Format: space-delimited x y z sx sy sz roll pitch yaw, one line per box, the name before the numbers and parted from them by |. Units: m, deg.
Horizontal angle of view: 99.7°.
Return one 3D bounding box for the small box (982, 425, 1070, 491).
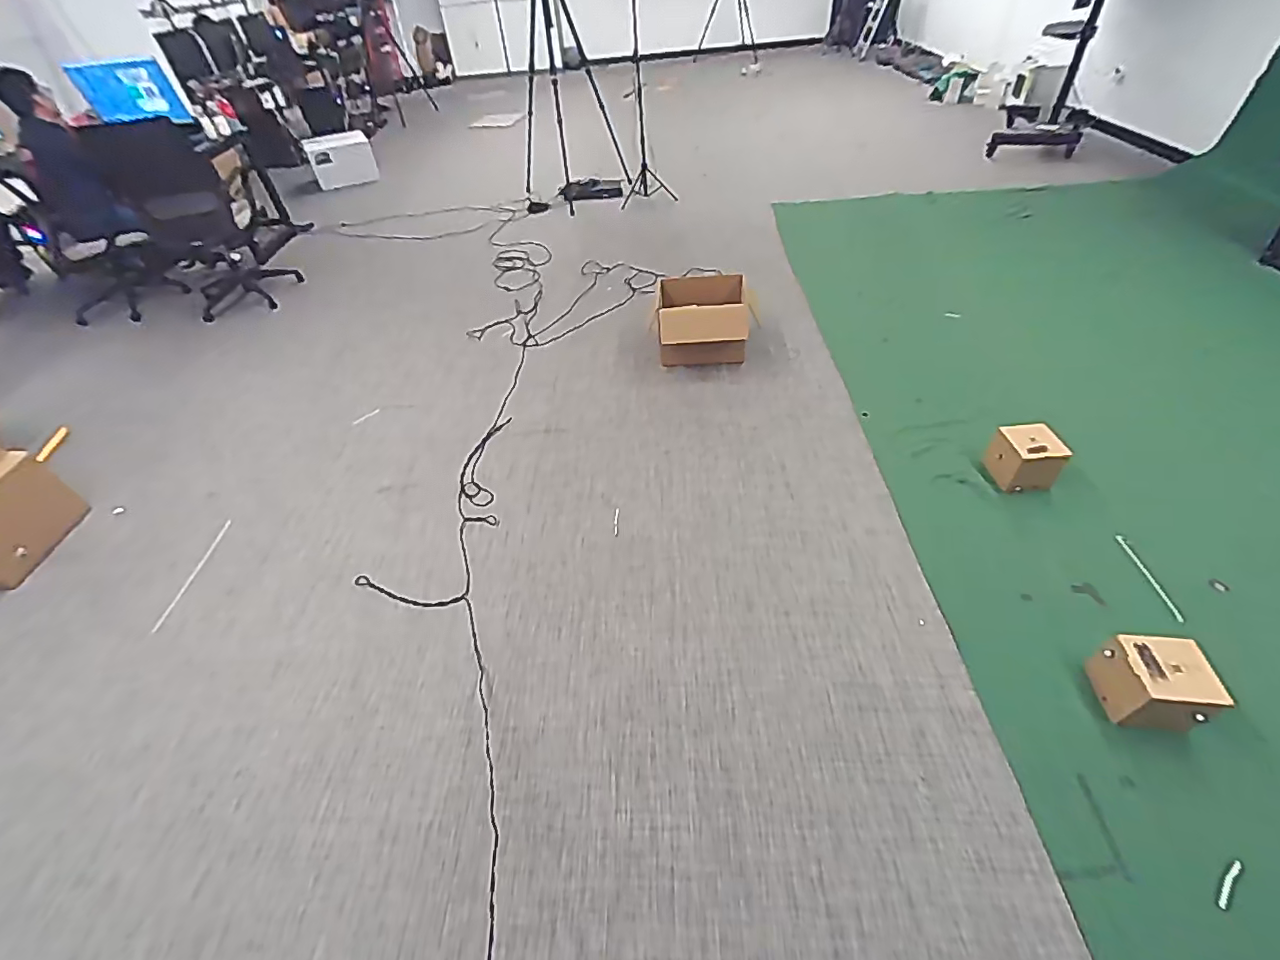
small box | 1.359 -0.073 1.919 0.168 0.176 0.179 -4 44 1
